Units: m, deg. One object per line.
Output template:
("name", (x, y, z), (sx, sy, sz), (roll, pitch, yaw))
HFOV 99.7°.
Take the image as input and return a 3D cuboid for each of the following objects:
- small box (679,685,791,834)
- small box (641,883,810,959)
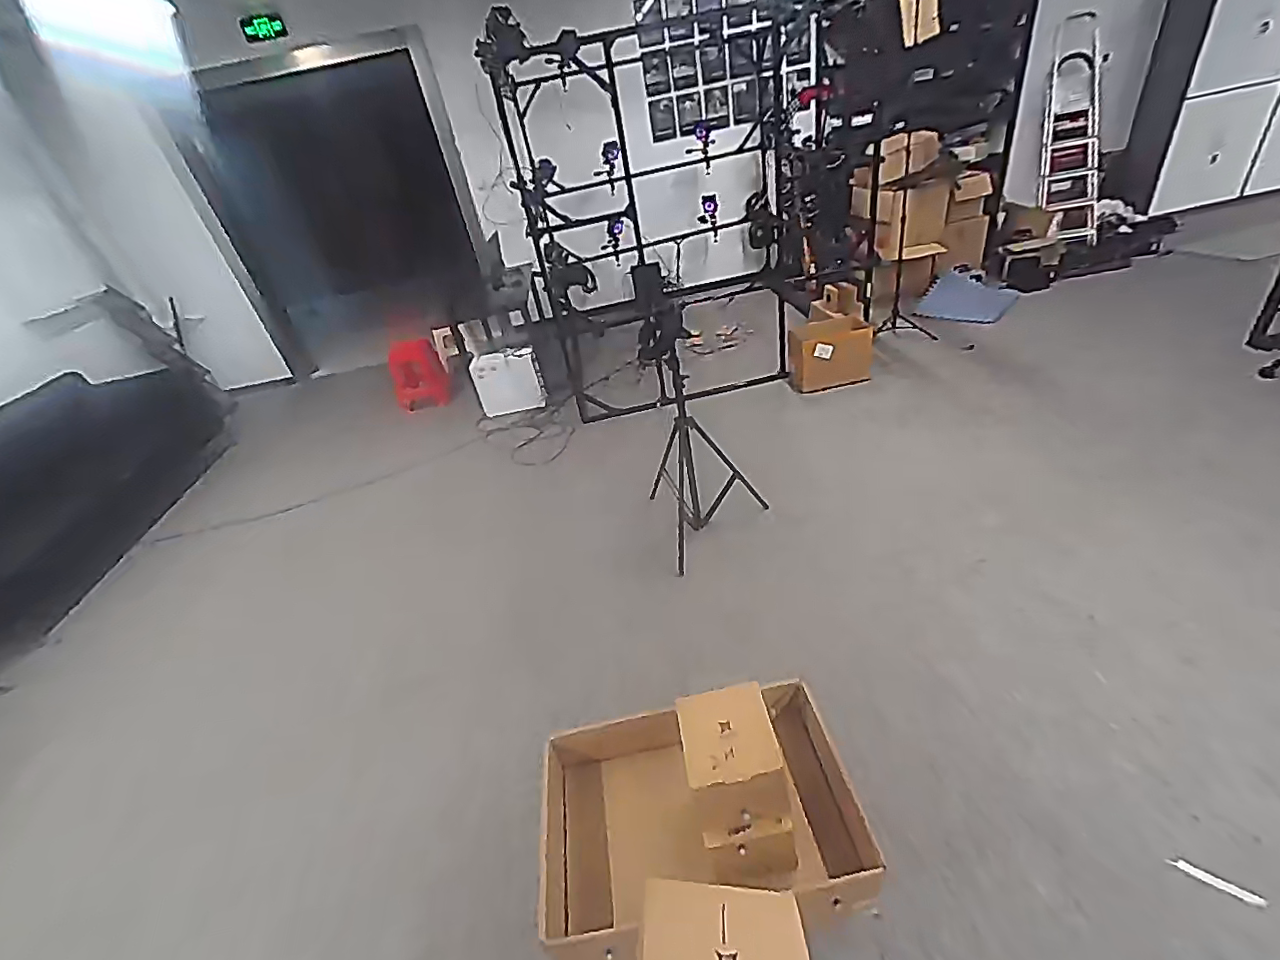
("small box", (0.175, 0.521, 1.012), (0.168, 0.176, 0.179), (-14, 34, 3))
("small box", (0.078, 0.545, 0.523), (0.168, 0.176, 0.179), (5, 14, 3))
